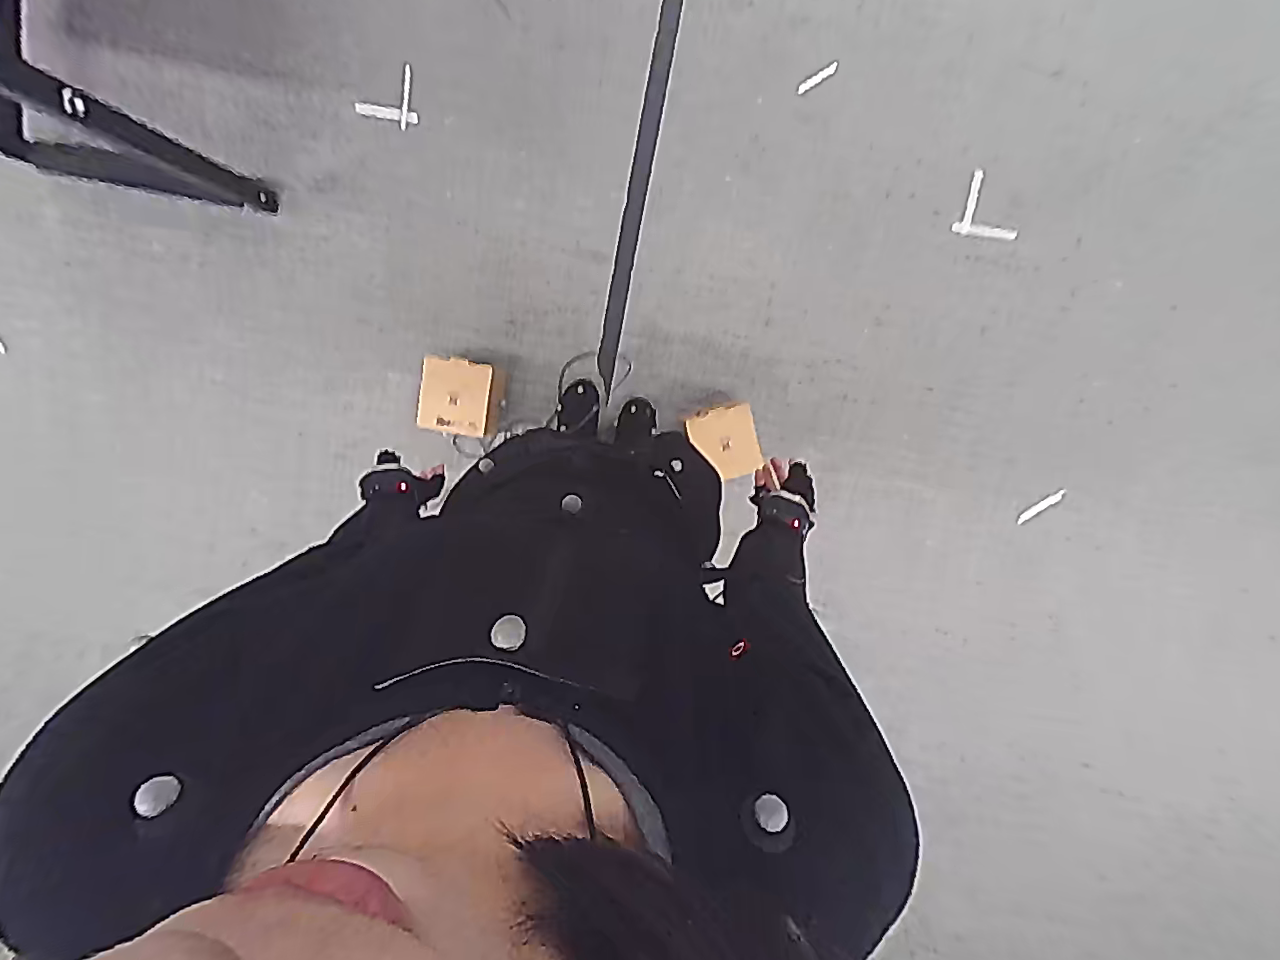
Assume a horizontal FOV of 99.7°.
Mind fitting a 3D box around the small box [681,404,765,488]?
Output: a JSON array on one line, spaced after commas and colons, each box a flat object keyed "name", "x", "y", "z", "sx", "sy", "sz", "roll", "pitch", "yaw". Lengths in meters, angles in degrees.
[{"name": "small box", "x": 0.210, "y": -0.096, "z": 1.416, "sx": 0.168, "sy": 0.176, "sz": 0.179, "roll": -17, "pitch": 101, "yaw": 3}]

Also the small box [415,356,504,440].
[{"name": "small box", "x": -0.450, "y": -0.207, "z": 1.374, "sx": 0.168, "sy": 0.176, "sz": 0.179, "roll": 10, "pitch": 98, "yaw": -3}]
